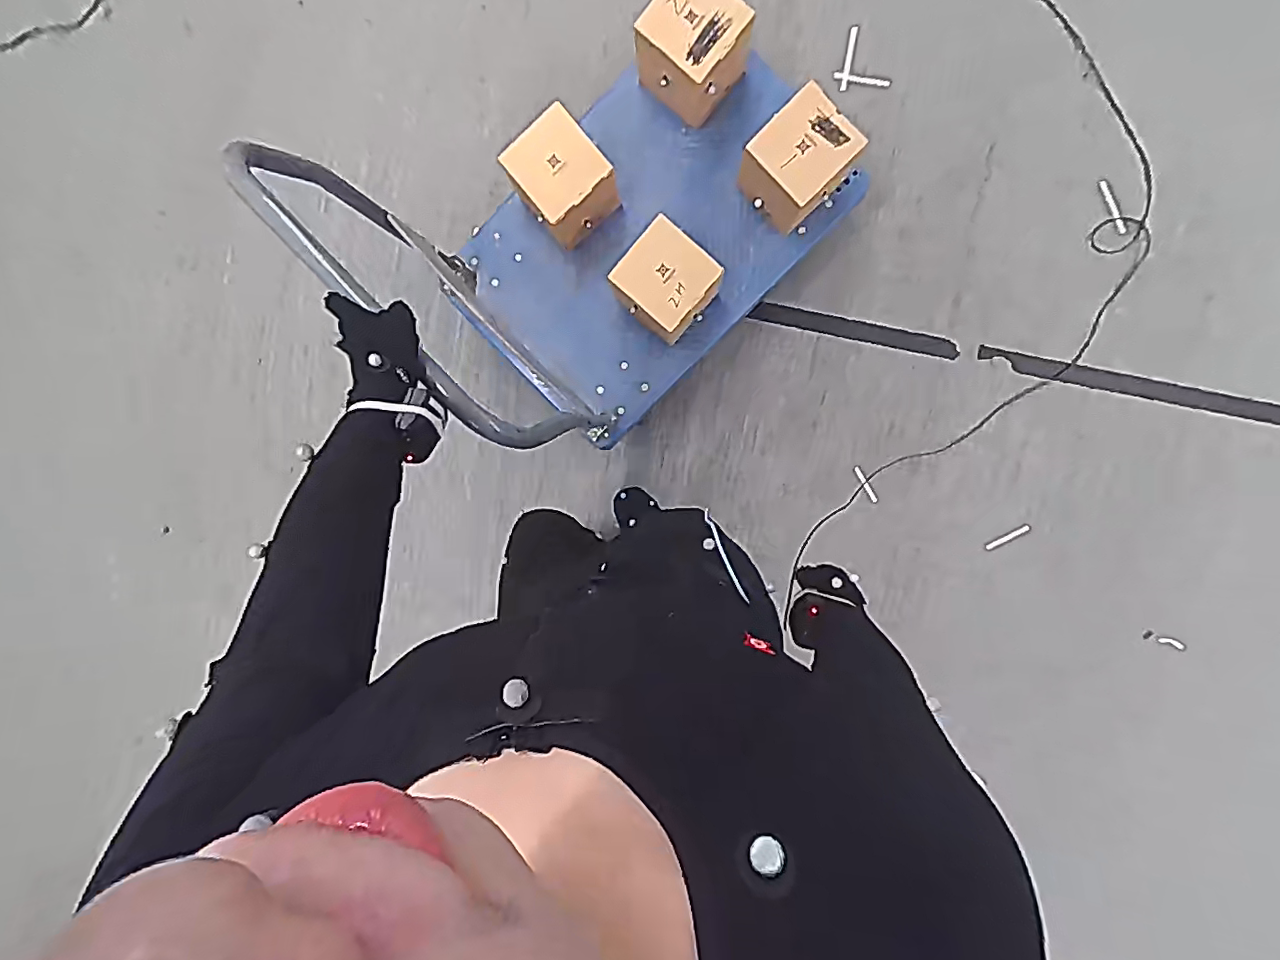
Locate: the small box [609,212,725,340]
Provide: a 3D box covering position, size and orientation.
[{"bbox_3d":[0.058,-0.424,1.161,0.179,0.176,0.168,42,96,-1],"label":"small box"}]

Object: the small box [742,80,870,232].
[{"bbox_3d":[0.331,-0.659,1.124,0.179,0.176,0.168,-43,91,7],"label":"small box"}]

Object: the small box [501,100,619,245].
[{"bbox_3d":[-0.162,-0.643,1.155,0.168,0.176,0.179,-40,93,5],"label":"small box"}]
